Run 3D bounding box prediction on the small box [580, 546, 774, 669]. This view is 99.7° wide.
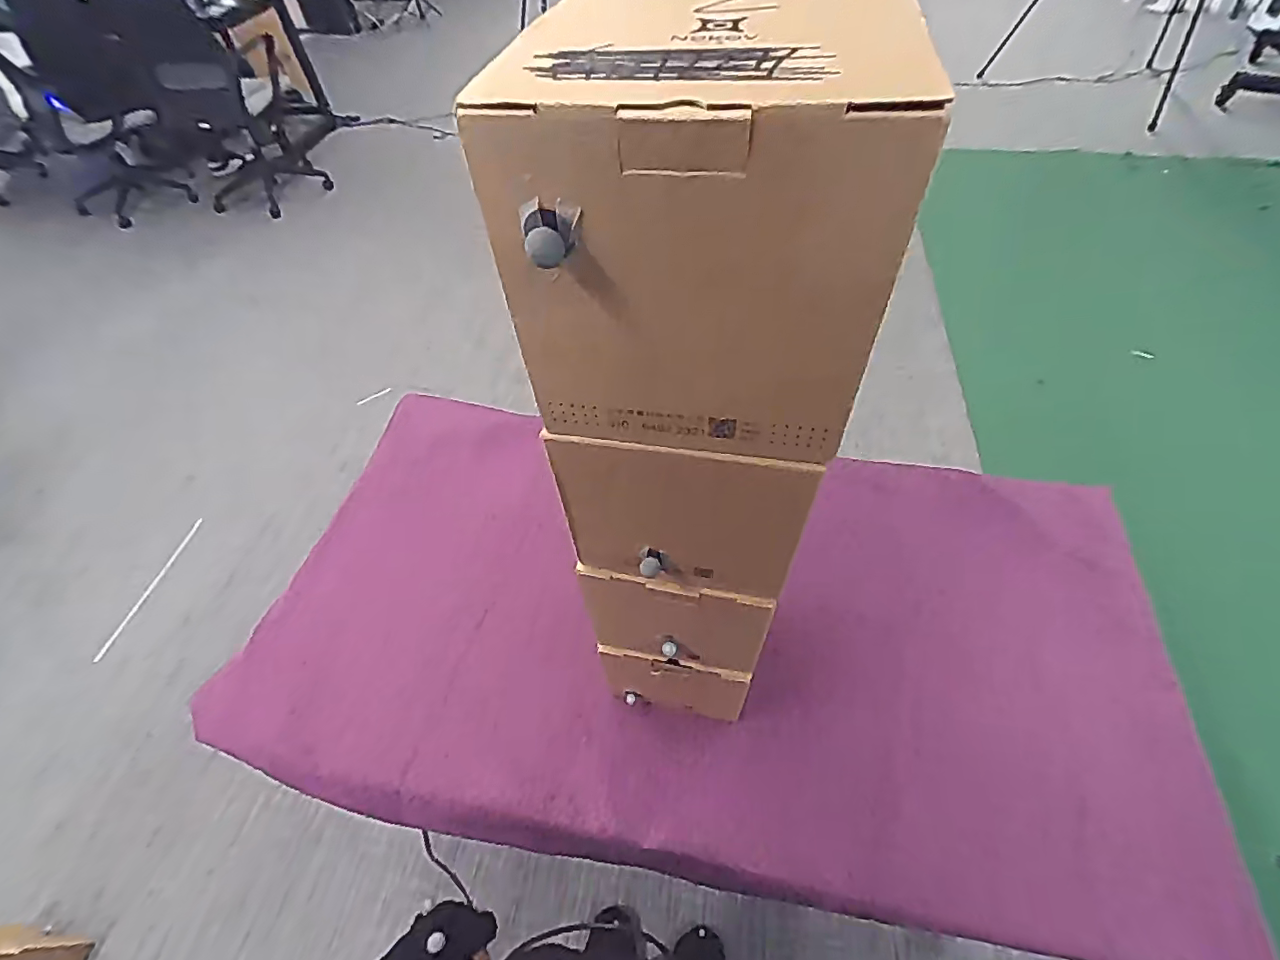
[{"bbox_3d":[0.049,0.069,0.555,0.168,0.176,0.179,8,54,10],"label":"small box"}]

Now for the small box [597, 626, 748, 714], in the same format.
[{"bbox_3d":[0.056,0.175,0.681,0.168,0.176,0.179,9,53,10],"label":"small box"}]

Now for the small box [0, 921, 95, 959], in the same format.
[{"bbox_3d":[-1.261,0.985,1.058,0.179,0.176,0.168,6,54,9],"label":"small box"}]

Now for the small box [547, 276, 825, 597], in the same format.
[{"bbox_3d":[0.043,-0.033,0.428,0.168,0.176,0.179,8,54,10],"label":"small box"}]
